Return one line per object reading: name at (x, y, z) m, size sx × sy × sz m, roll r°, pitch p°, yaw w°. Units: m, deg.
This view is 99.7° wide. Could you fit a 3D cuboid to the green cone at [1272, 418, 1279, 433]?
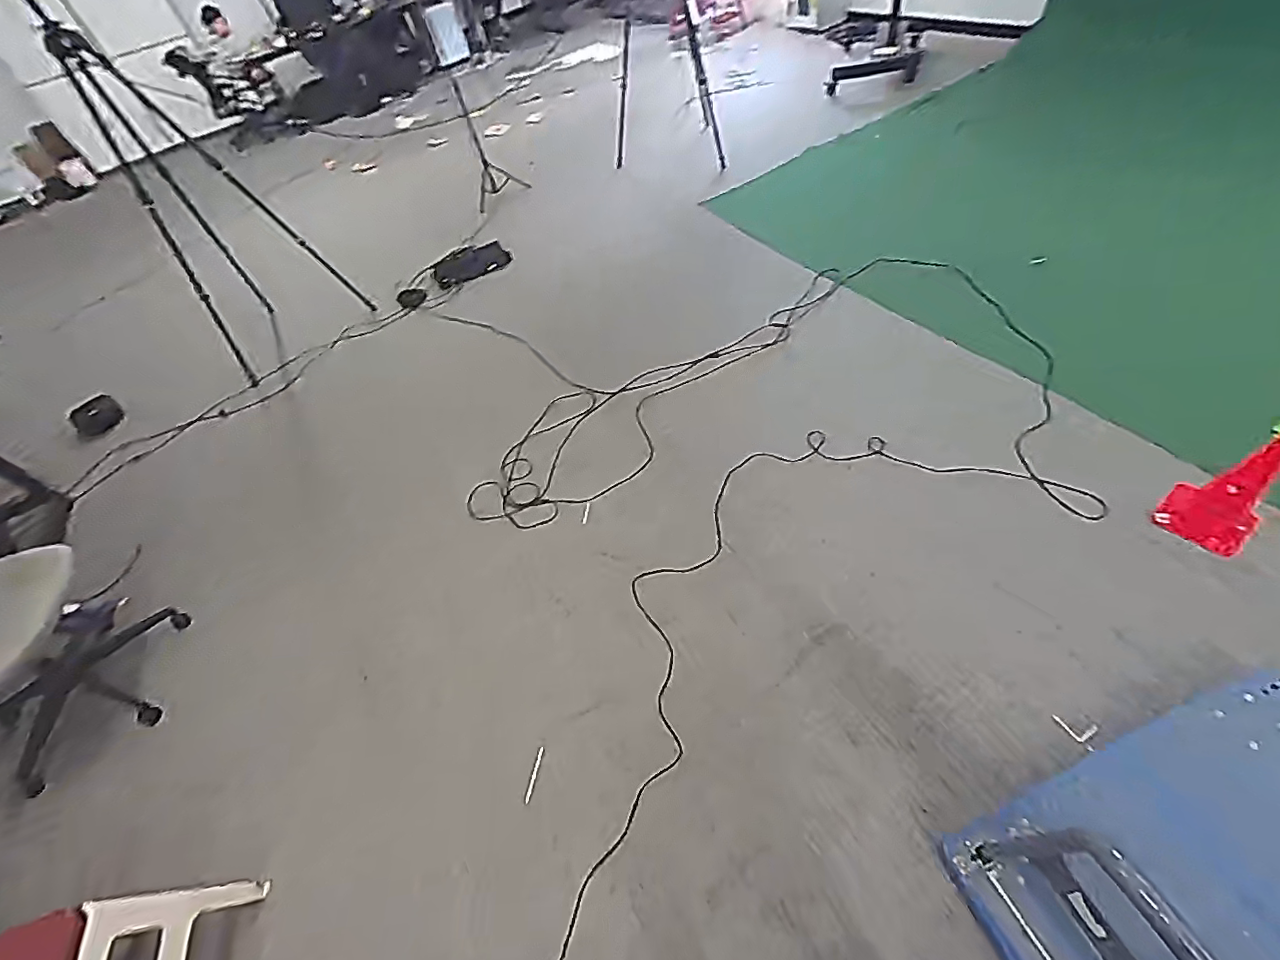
green cone at (2.103, -0.264, 1.552) m, size 0.202 × 0.368 × 0.200 m, roll -31°, pitch 51°, yaw -13°
